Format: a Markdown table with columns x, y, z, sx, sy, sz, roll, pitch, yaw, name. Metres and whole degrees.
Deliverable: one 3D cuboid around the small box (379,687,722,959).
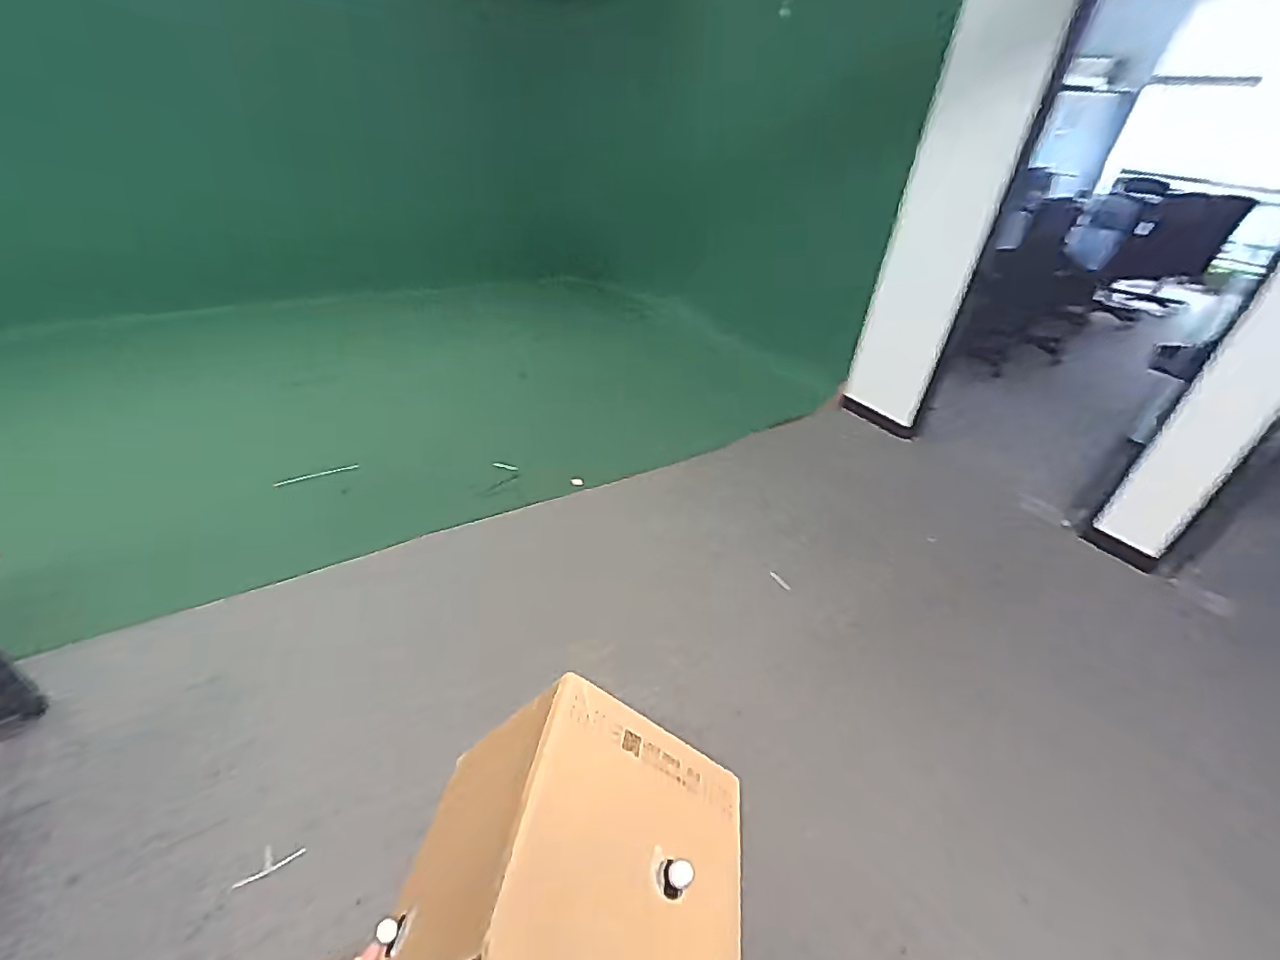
| x | y | z | sx | sy | sz | roll | pitch | yaw | name |
| --- | --- | --- | --- | --- | --- | --- | --- | --- | --- |
| -0.056 | 0.282 | 0.386 | 0.168 | 0.179 | 0.176 | 36 | 31 | -13 | small box |
